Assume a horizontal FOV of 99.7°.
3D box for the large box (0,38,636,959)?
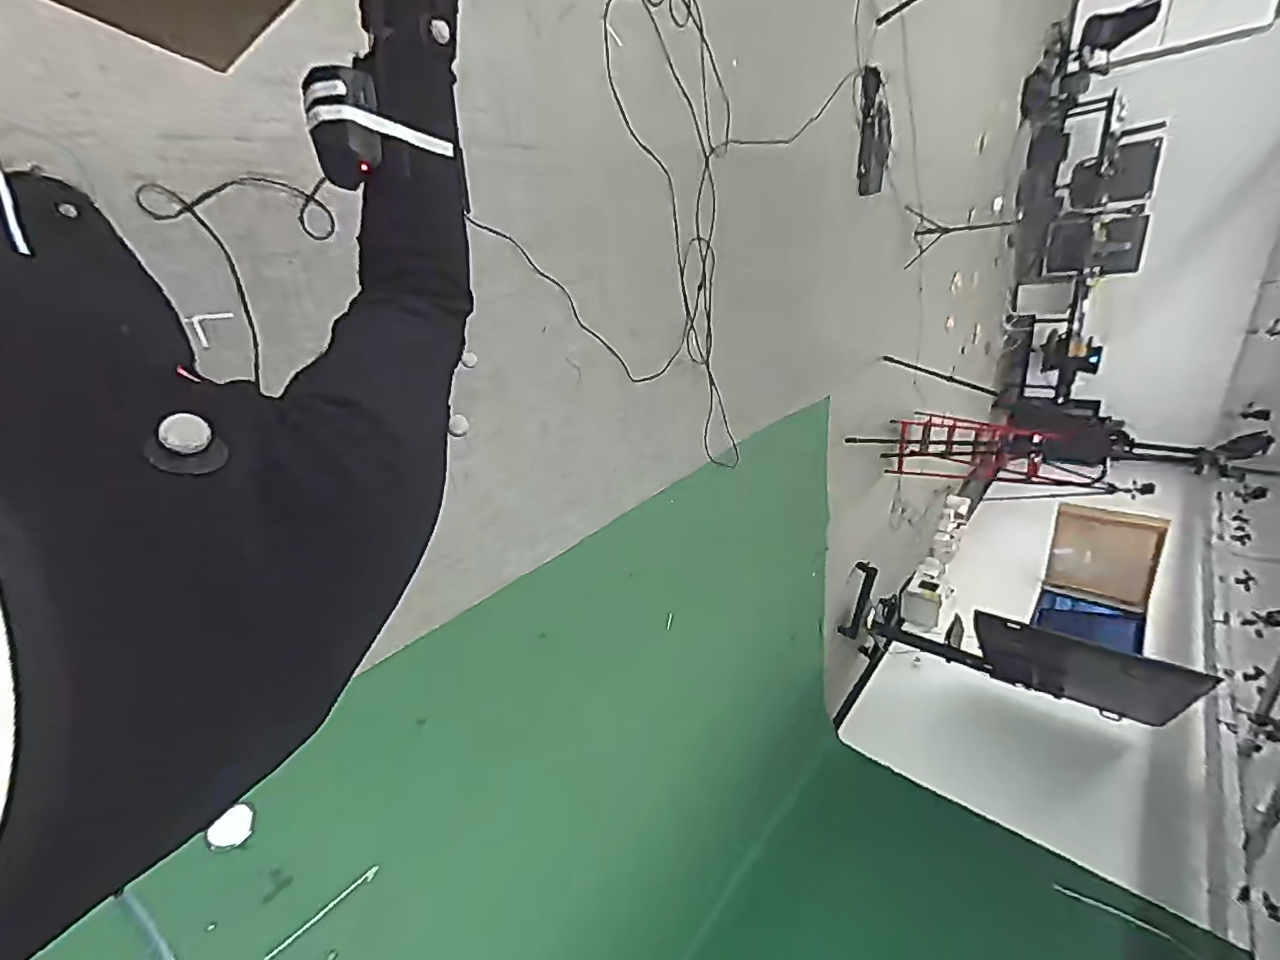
[{"bbox_3d":[-0.201,0.055,0.312,0.320,0.320,0.408,12,55,-15],"label":"large box"}]
